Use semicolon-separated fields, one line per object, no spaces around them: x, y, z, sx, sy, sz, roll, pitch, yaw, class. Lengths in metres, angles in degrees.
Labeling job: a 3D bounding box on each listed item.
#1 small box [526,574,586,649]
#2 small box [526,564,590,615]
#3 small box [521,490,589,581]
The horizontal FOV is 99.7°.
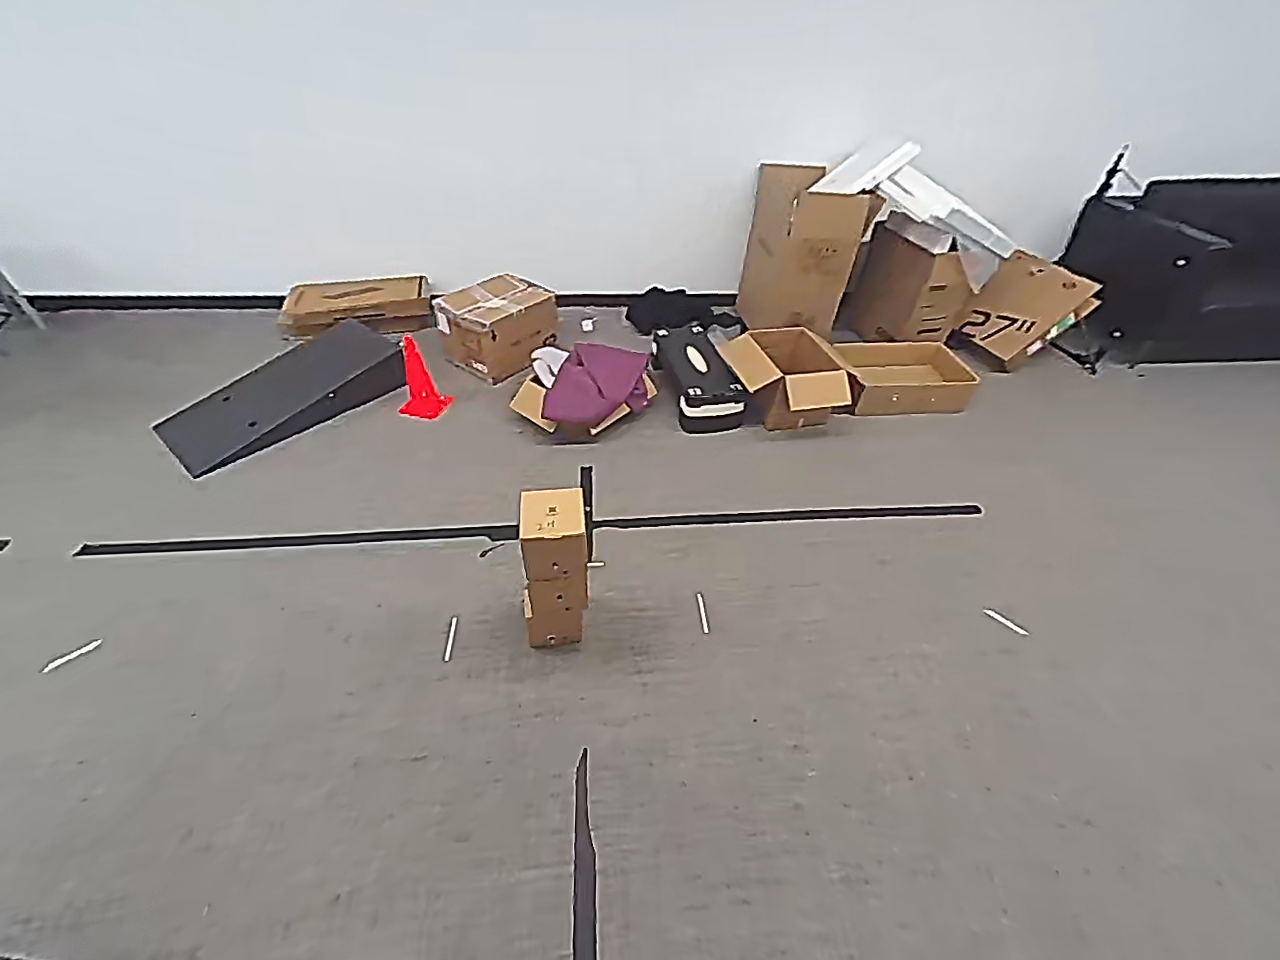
-0.262;0.398;1.681;0.168;0.176;0.179;-7;44;-9;small box
-0.239;0.277;1.572;0.168;0.176;0.179;-7;43;-10;small box
-0.226;0.150;1.465;0.168;0.176;0.179;-5;43;-6;small box
